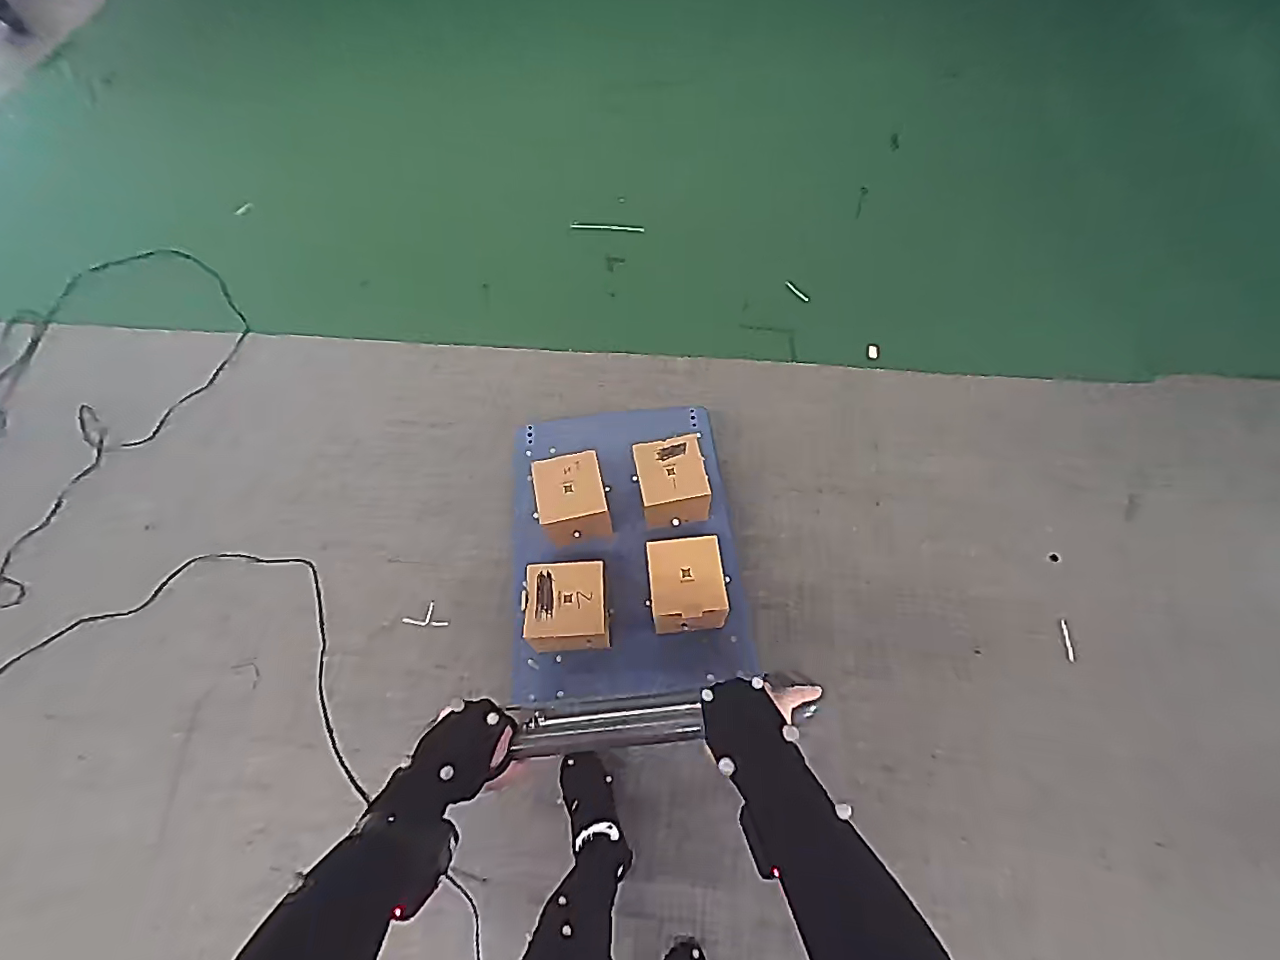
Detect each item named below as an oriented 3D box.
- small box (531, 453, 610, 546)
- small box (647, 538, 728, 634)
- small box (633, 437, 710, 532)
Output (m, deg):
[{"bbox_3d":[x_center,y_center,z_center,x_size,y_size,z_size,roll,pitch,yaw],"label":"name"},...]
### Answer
[{"bbox_3d":[-0.174,0.058,1.387,0.168,0.176,0.179,-11,63,-5],"label":"small box"},{"bbox_3d":[0.105,0.253,1.279,0.168,0.176,0.179,-6,63,-1],"label":"small box"},{"bbox_3d":[0.076,0.015,1.401,0.168,0.176,0.179,-10,64,-3],"label":"small box"}]
